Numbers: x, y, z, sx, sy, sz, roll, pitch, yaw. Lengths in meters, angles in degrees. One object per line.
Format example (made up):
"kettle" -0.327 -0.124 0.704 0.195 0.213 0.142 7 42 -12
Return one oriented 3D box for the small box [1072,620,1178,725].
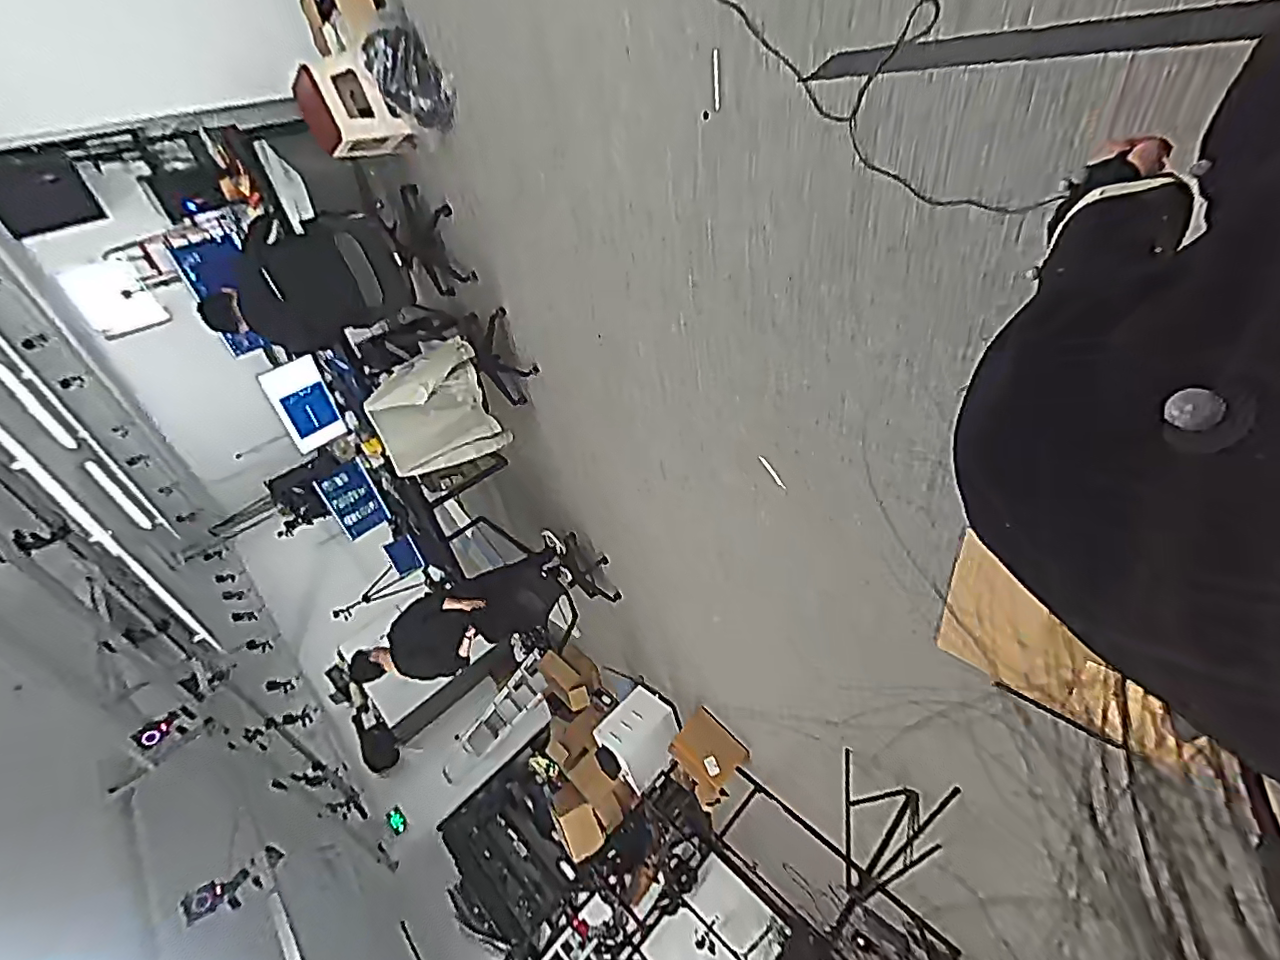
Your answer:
"small box" 1.333 0.519 1.485 0.168 0.176 0.179 24 139 41
